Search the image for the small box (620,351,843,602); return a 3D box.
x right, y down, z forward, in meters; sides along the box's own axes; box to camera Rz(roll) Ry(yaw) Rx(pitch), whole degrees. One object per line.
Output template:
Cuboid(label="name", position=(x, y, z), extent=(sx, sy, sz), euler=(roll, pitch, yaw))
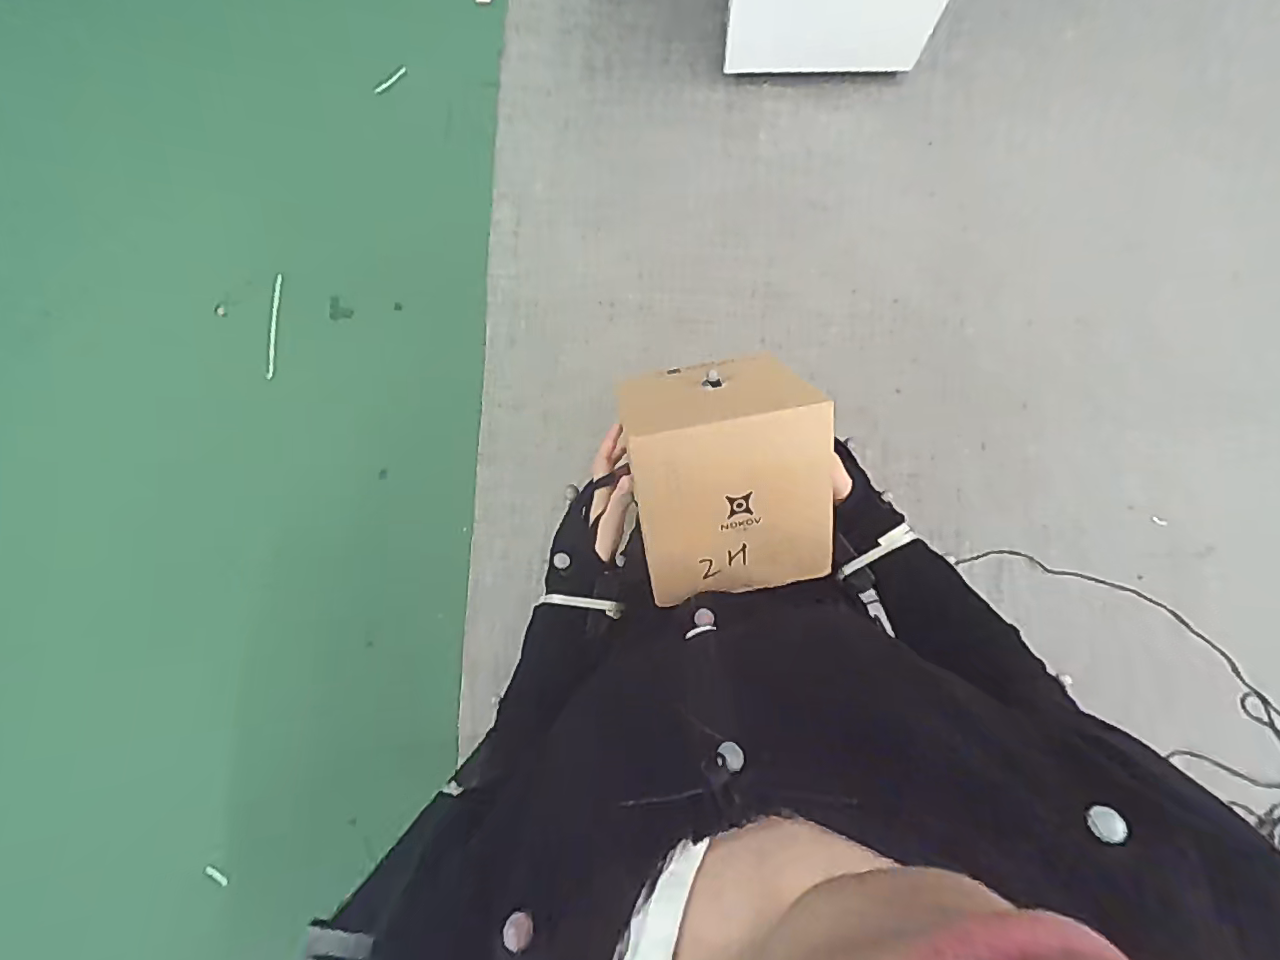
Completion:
Cuboid(label="small box", position=(0.077, -0.016, 0.513), extent=(0.168, 0.176, 0.179), euler=(-10, 117, -1))
